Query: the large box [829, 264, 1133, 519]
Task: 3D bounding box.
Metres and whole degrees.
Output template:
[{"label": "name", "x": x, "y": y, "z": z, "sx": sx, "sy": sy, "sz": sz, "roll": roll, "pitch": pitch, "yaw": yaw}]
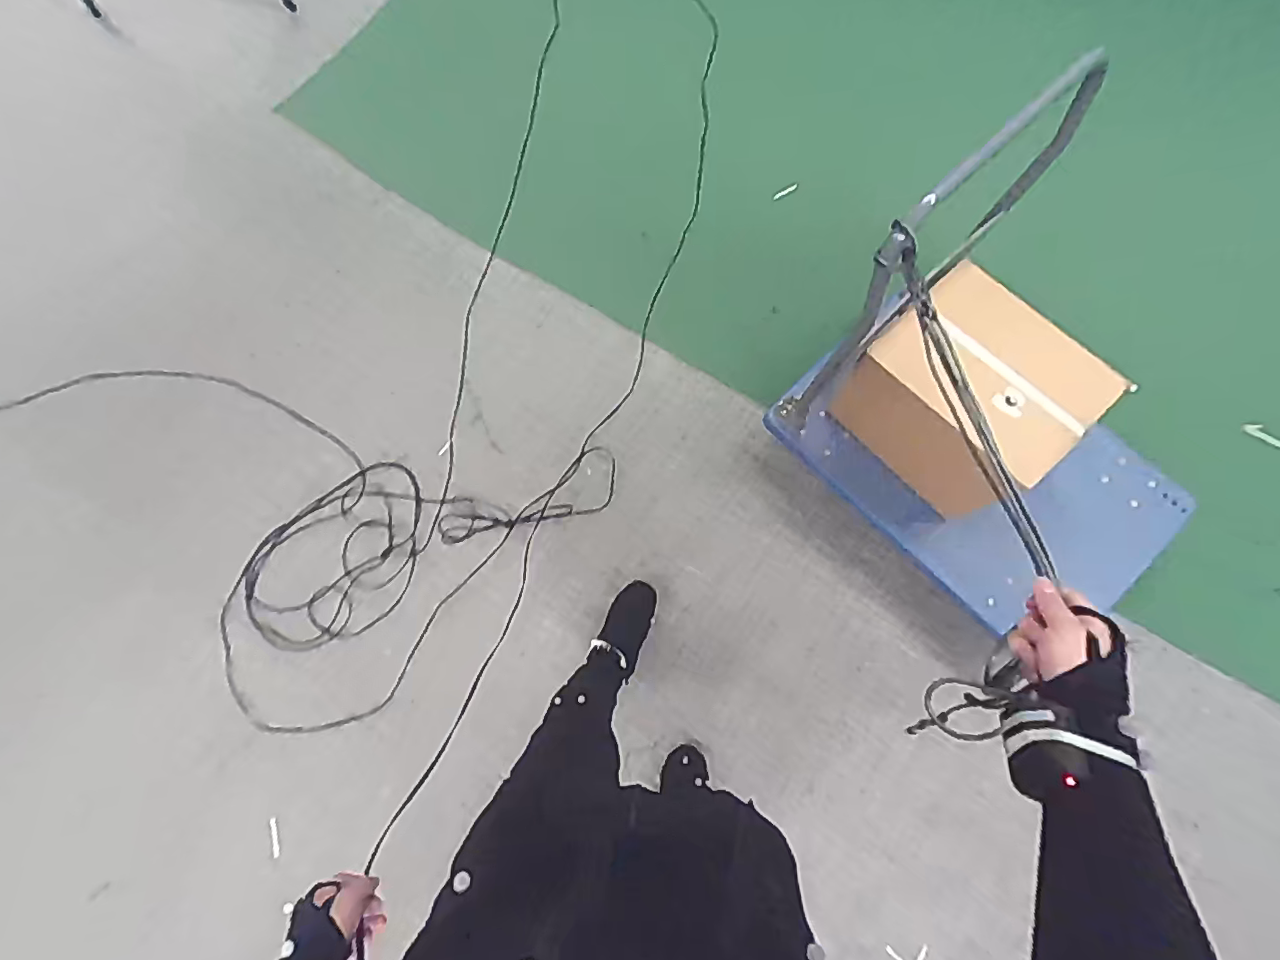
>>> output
[{"label": "large box", "x": 0.709, "y": -0.178, "z": 1.201, "sx": 0.320, "sy": 0.320, "sz": 0.408, "roll": -43, "pitch": 78, "yaw": -7}]
